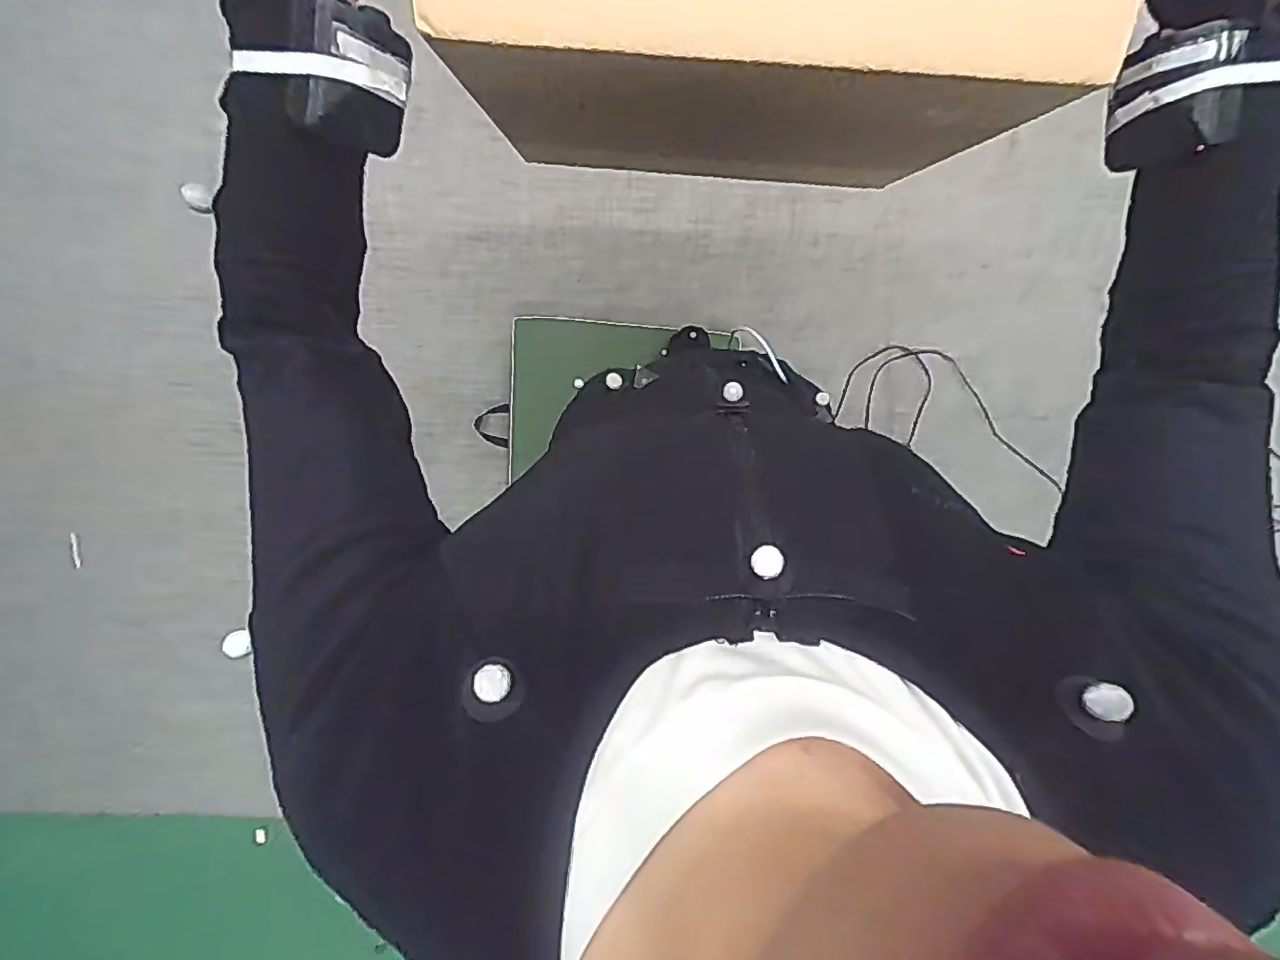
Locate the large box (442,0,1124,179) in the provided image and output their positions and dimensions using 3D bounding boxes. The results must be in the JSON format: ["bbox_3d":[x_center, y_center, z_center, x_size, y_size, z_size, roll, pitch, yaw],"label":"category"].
[{"bbox_3d":[0.084,-0.442,0.413,0.408,0.320,0.320,2,109,-2],"label":"large box"}]
